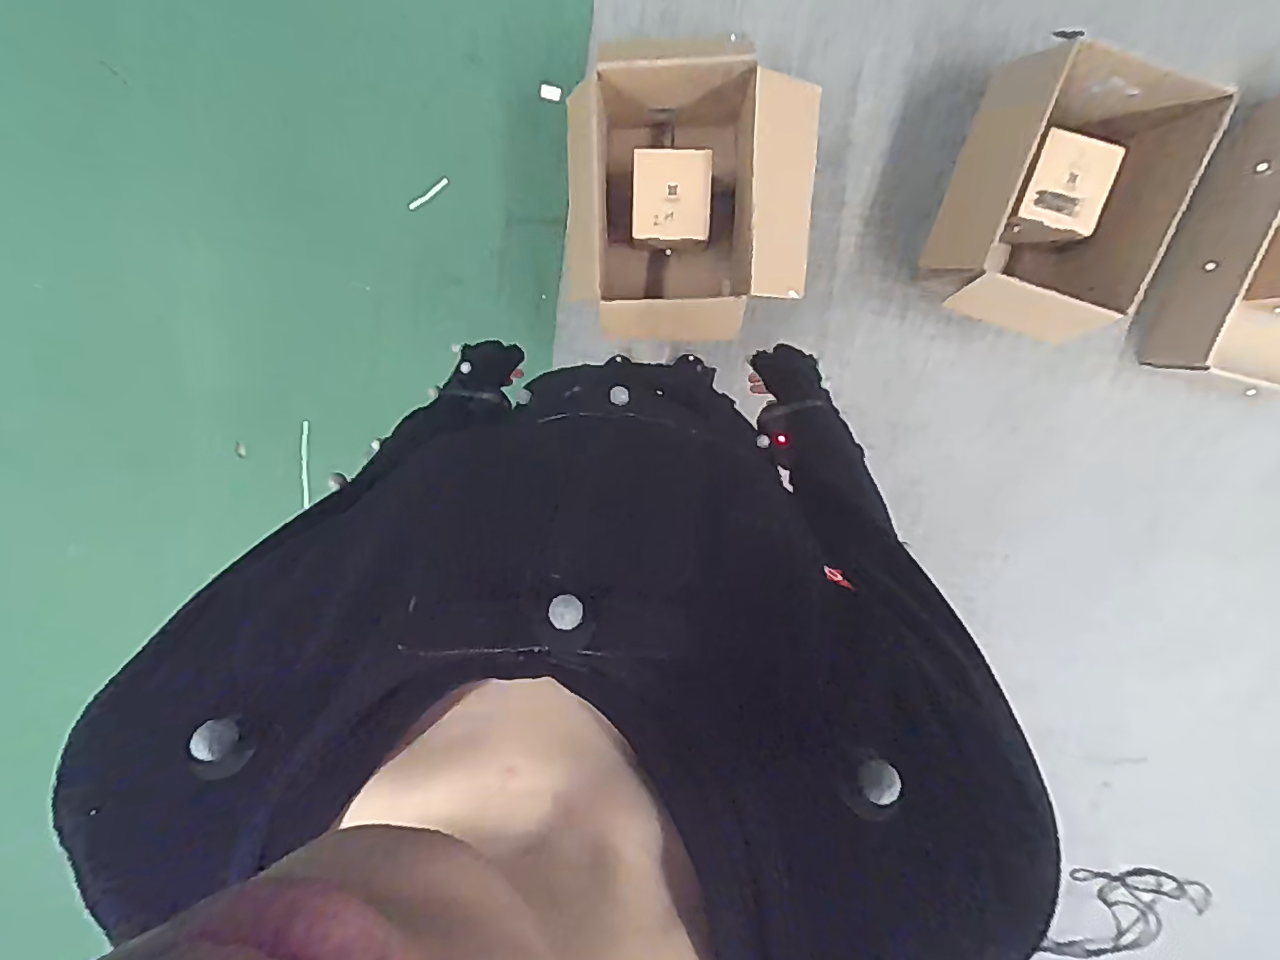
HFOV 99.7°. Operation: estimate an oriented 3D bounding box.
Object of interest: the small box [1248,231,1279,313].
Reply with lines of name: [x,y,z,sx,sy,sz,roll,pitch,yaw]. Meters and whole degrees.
small box: [1.516,-0.464,1.180,0.168,0.176,0.179,12,104,-2]
